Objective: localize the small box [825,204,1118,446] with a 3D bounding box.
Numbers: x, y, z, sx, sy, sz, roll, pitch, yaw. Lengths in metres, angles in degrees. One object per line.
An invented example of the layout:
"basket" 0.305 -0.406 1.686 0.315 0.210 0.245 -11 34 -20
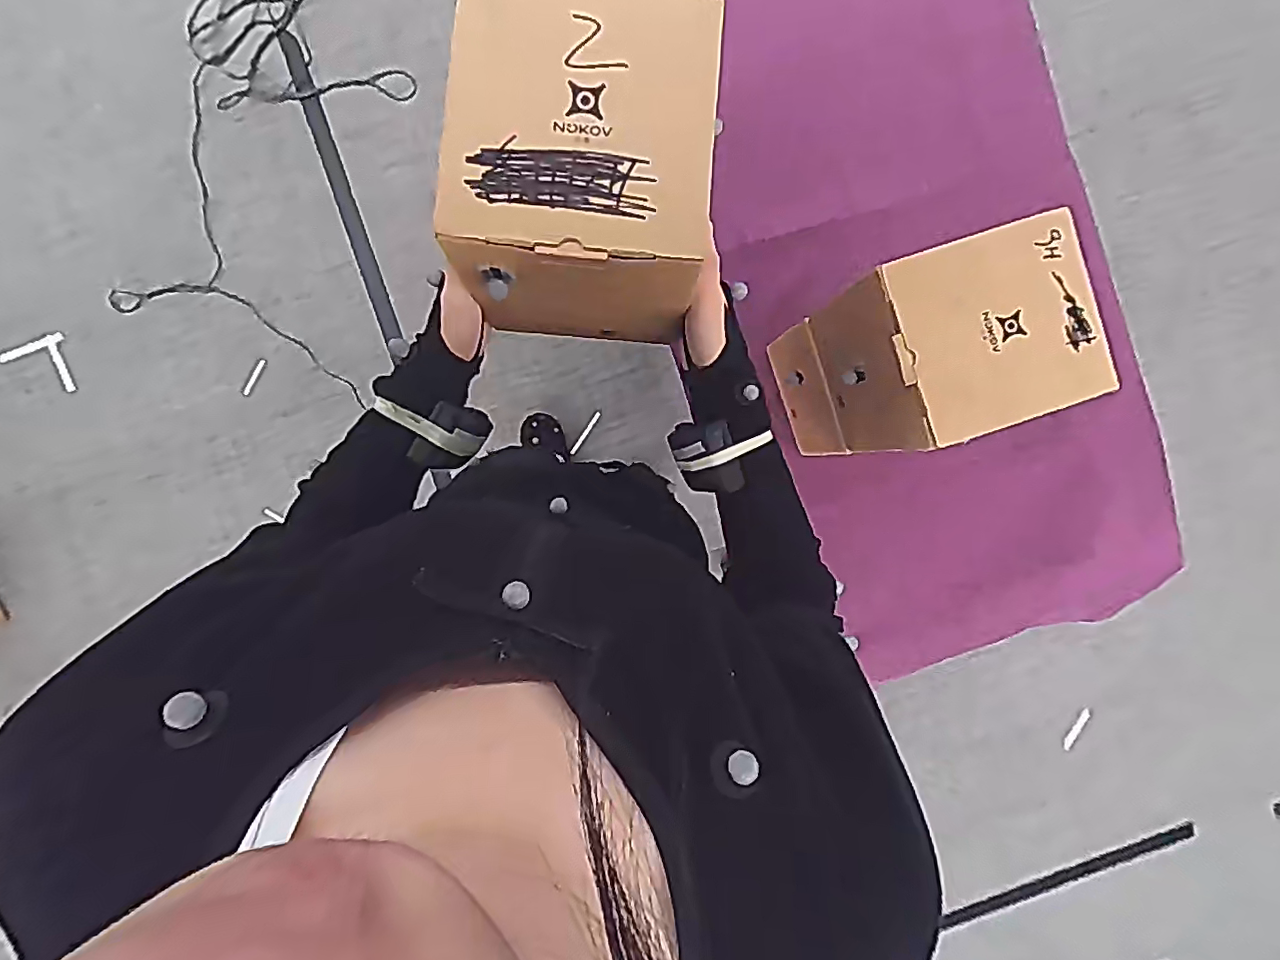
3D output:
"small box" 0.304 -0.135 0.541 0.179 0.176 0.168 -18 93 -2

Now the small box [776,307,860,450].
"small box" 0.293 -0.141 0.704 0.179 0.176 0.168 -19 93 -2
